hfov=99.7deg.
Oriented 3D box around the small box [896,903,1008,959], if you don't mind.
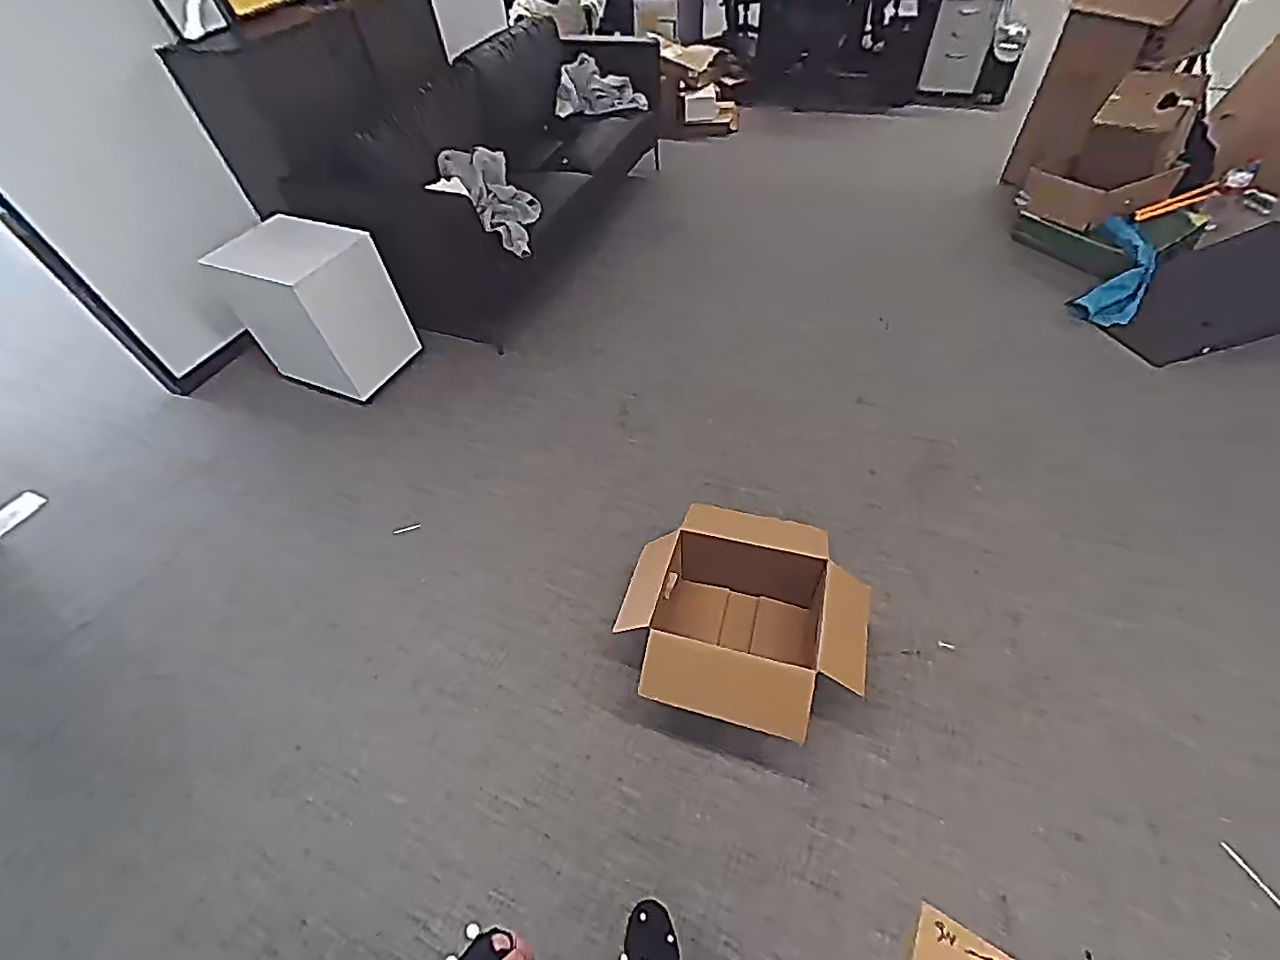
[{"bbox_3d":[0.367,0.666,0.621,0.168,0.176,0.179,19,24,33],"label":"small box"}]
